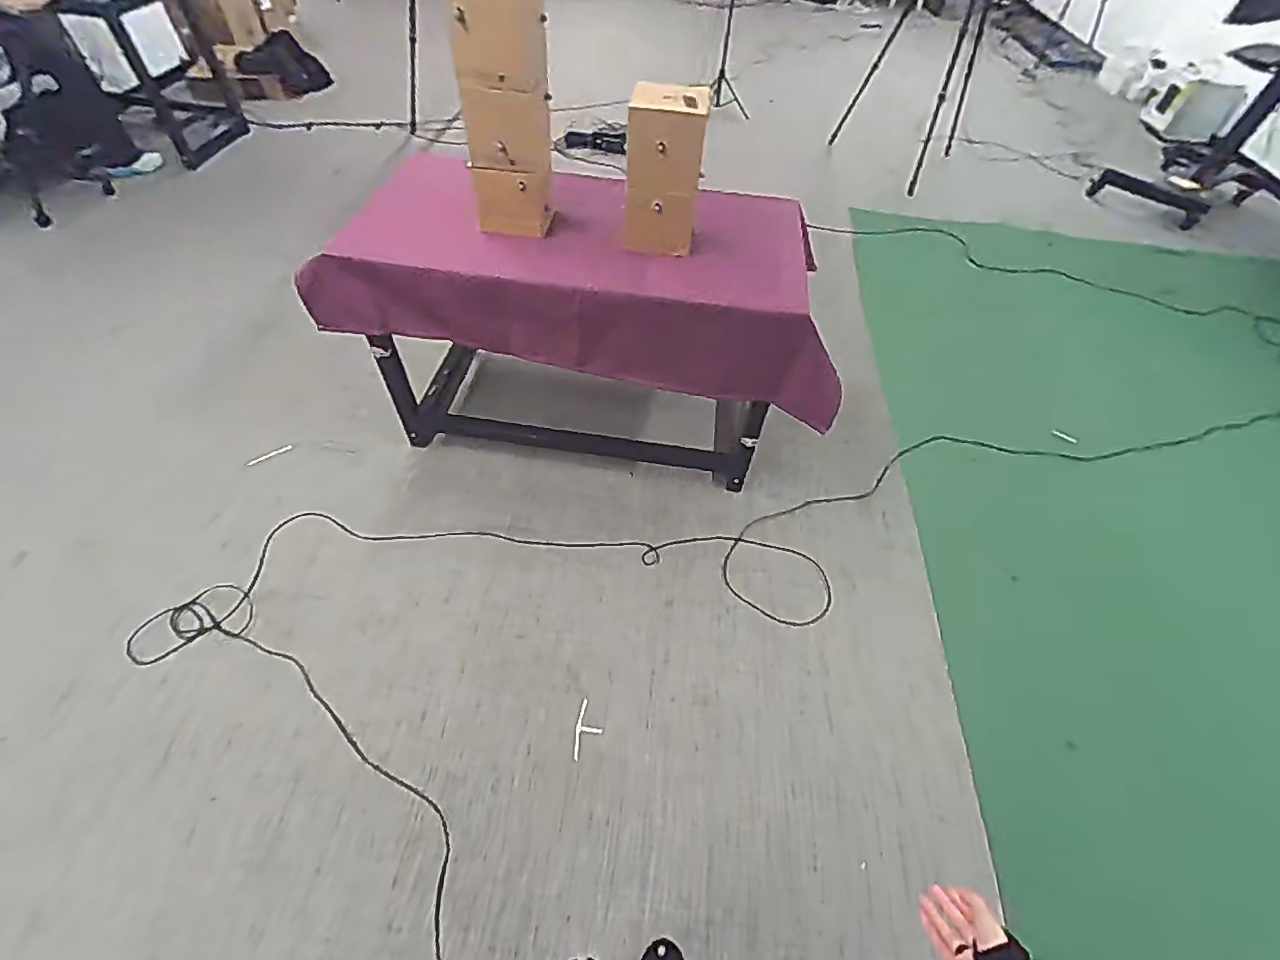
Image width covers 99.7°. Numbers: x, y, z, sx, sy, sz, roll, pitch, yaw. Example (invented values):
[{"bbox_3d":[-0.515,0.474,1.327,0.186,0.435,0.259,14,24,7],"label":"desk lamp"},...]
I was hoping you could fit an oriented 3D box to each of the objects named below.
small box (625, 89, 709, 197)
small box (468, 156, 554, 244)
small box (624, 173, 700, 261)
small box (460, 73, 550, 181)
[{"bbox_3d":[0.062,-0.798,1.287,0.179,0.176,0.168,7,52,3],"label":"small box"},{"bbox_3d":[-0.333,-0.749,1.435,0.179,0.176,0.168,7,51,1],"label":"small box"},{"bbox_3d":[0.054,-0.695,1.415,0.179,0.176,0.168,8,52,2],"label":"small box"},{"bbox_3d":[-0.316,-0.854,1.310,0.168,0.176,0.179,6,51,1],"label":"small box"}]
